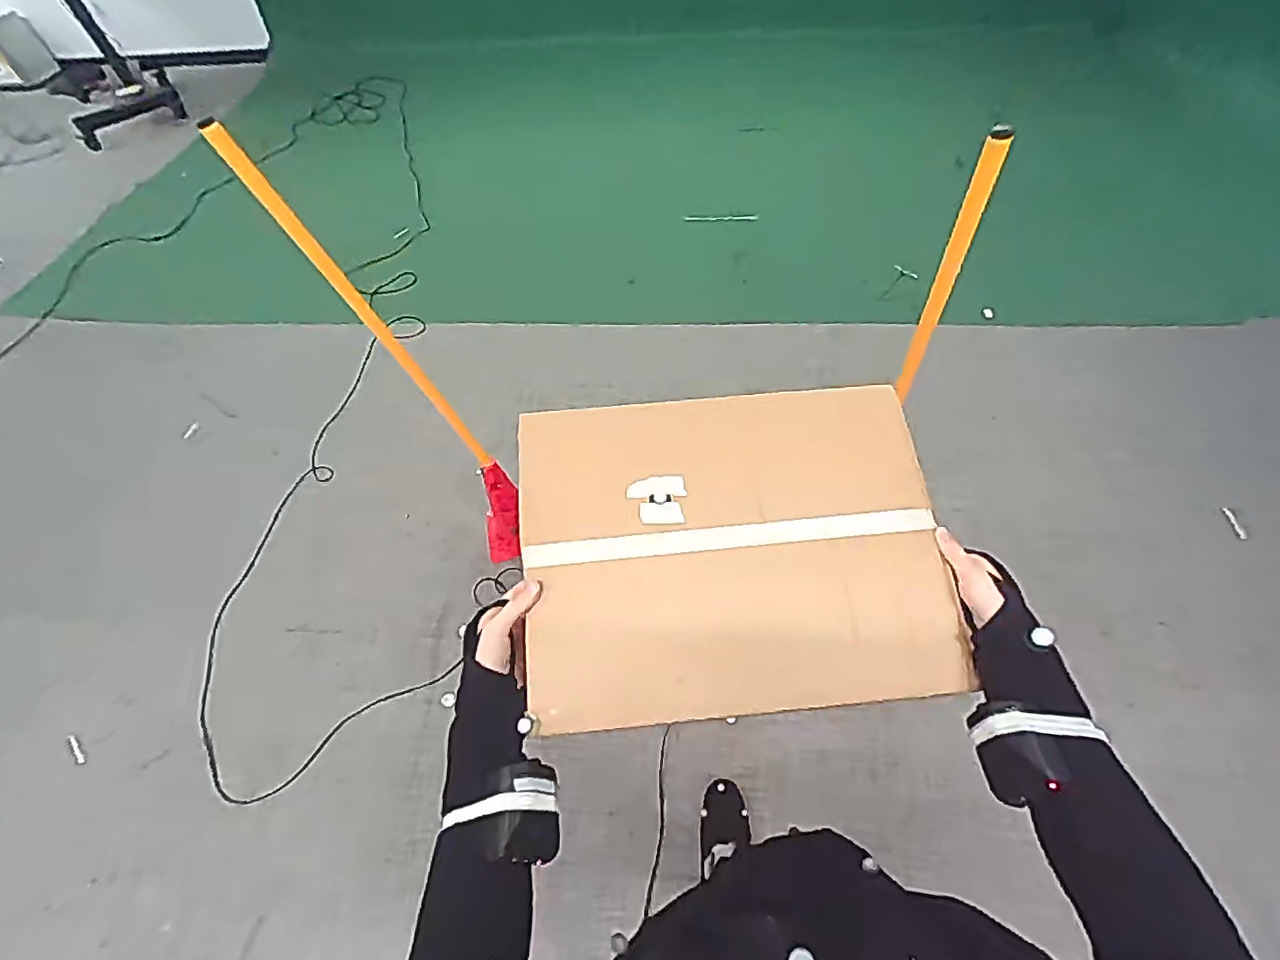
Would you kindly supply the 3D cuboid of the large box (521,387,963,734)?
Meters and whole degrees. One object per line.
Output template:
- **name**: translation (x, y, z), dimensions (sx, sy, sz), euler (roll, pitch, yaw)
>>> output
- **large box**: translation (0.088, 0.112, 0.679), dimensions (0.408, 0.320, 0.320), euler (-6, 69, -1)
